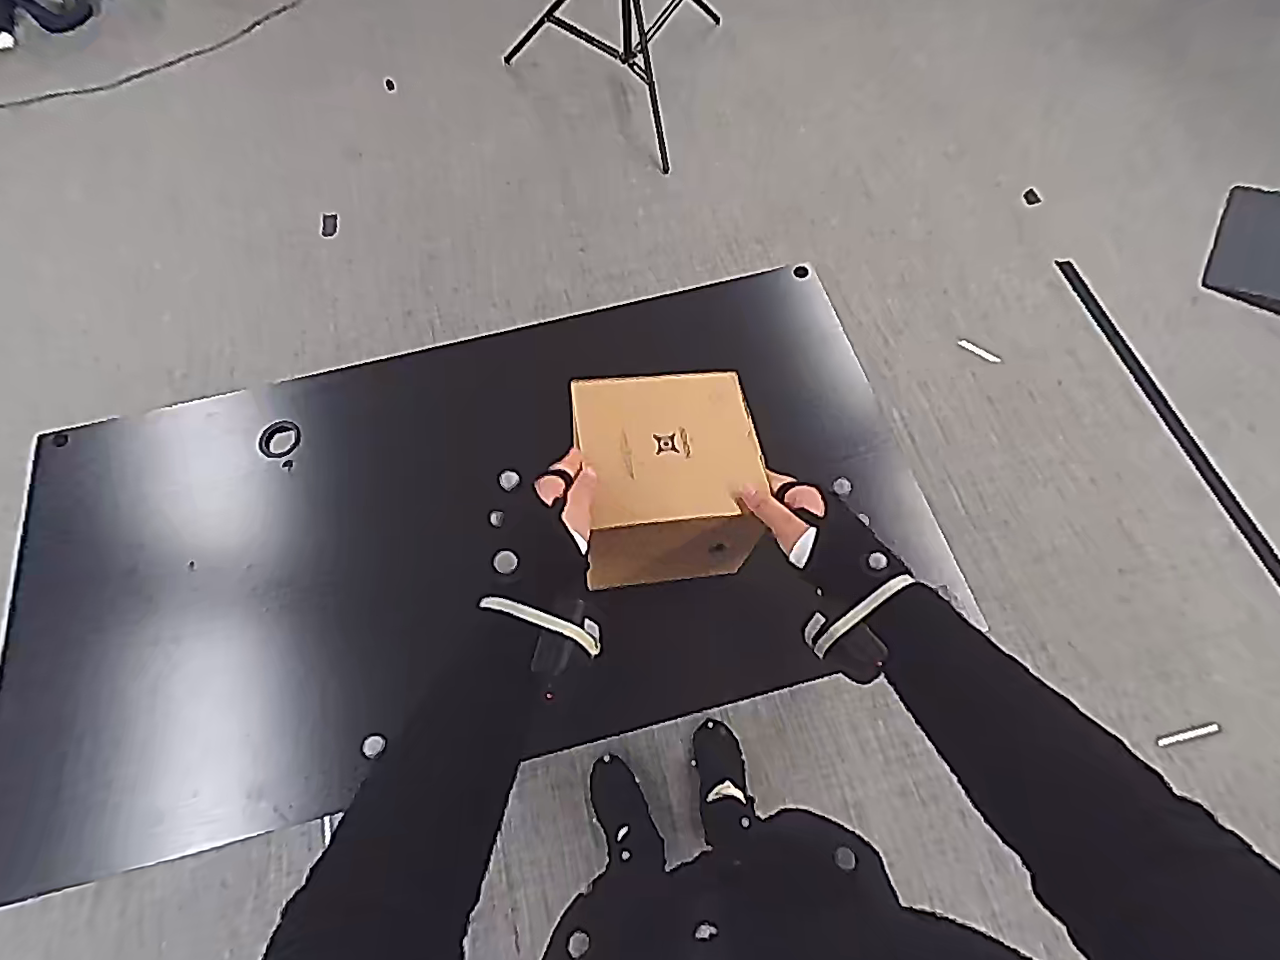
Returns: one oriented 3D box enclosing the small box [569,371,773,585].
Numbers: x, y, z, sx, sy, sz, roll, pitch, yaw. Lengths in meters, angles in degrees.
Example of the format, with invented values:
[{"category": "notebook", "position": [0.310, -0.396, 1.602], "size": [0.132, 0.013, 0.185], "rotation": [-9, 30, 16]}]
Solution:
[{"category": "small box", "position": [0.018, 0.004, 0.580], "size": [0.179, 0.176, 0.168], "rotation": [-6, 62, -8]}]
